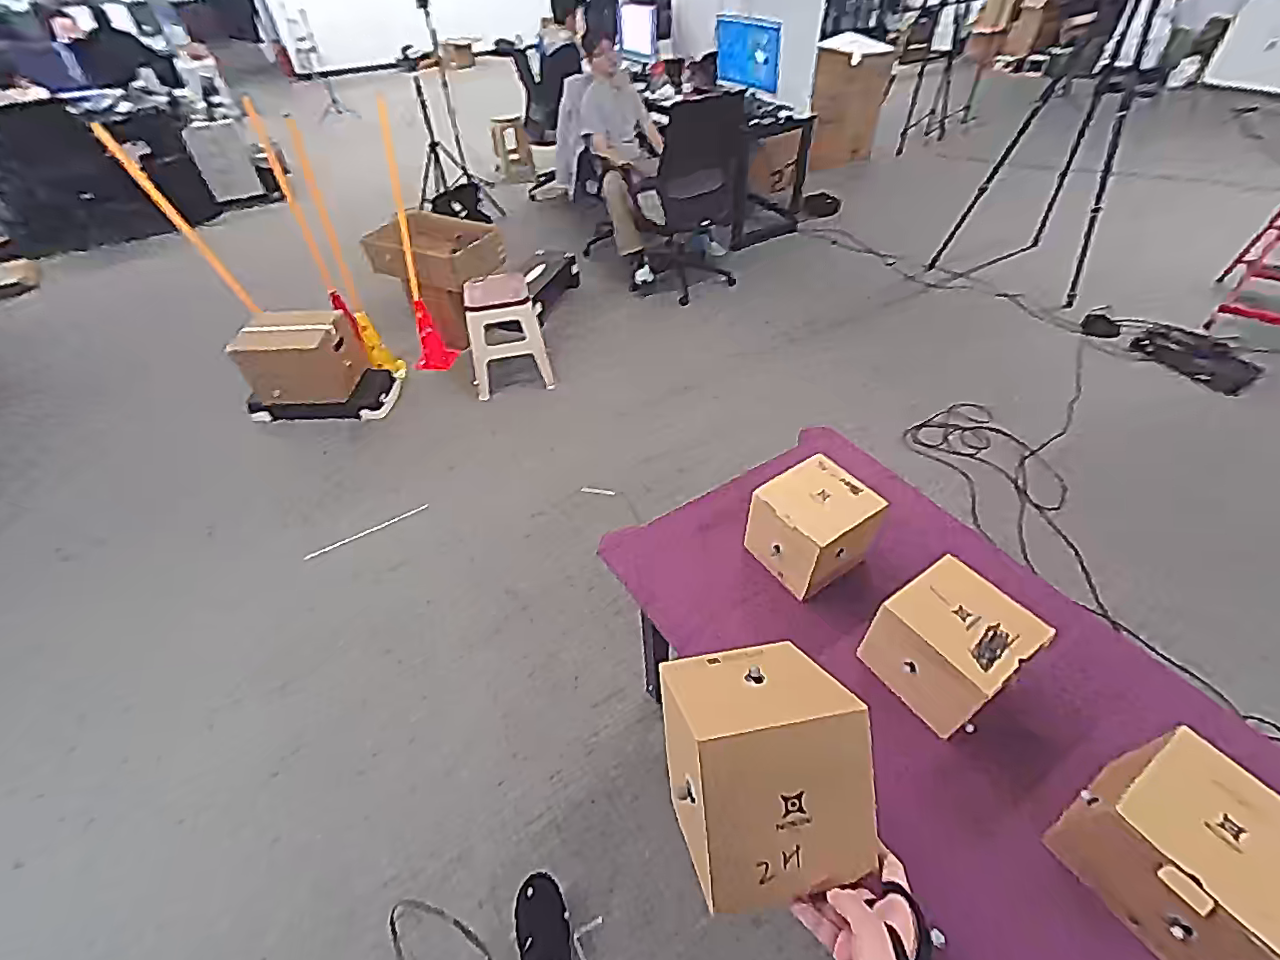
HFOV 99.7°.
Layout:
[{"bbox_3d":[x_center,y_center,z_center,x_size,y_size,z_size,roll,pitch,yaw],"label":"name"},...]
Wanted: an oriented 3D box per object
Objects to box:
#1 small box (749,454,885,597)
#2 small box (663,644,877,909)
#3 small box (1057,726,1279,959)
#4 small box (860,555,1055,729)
[{"bbox_3d":[0.322,0.088,1.021,0.179,0.176,0.168,-28,51,-21],"label":"small box"},{"bbox_3d":[0.124,0.287,0.569,0.168,0.179,0.176,-6,5,-9],"label":"small box"},{"bbox_3d":[0.657,0.444,0.653,0.179,0.176,0.168,-26,50,-21],"label":"small box"},{"bbox_3d":[0.480,0.259,0.845,0.168,0.176,0.179,-27,49,-21],"label":"small box"}]
